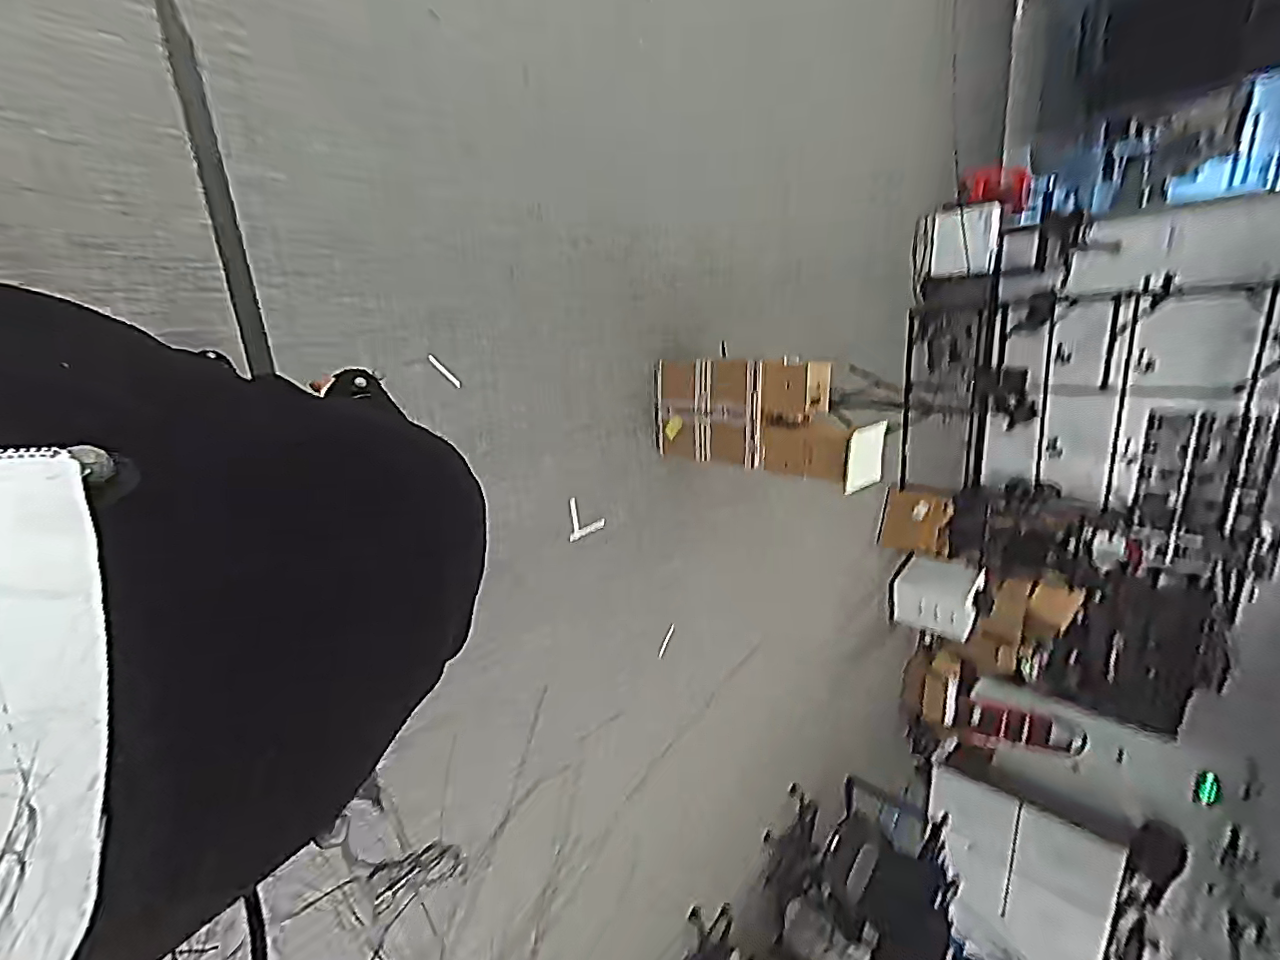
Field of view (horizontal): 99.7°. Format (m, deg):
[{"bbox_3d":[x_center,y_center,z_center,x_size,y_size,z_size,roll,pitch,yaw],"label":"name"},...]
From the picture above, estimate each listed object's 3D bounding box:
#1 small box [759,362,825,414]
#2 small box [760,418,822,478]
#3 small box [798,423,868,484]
[{"bbox_3d":[0.542,-0.331,1.941,0.168,0.176,0.179,-10,104,-43],"label":"small box"},{"bbox_3d":[0.556,-0.123,2.001,0.168,0.176,0.179,-21,114,-41],"label":"small box"},{"bbox_3d":[0.676,-0.099,1.894,0.179,0.176,0.168,-19,114,-42],"label":"small box"}]
